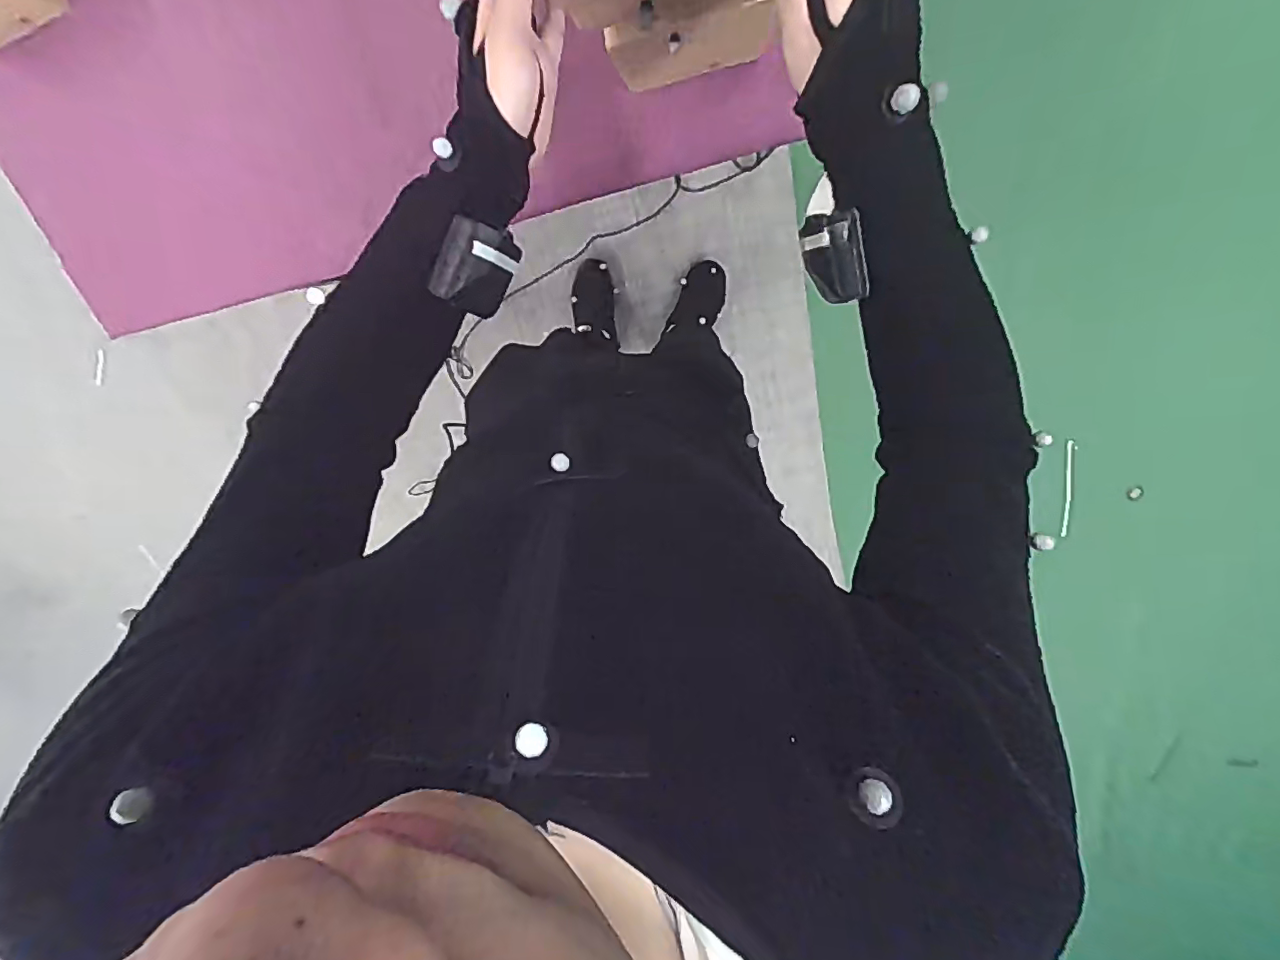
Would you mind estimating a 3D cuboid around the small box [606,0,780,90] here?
[{"bbox_3d":[0.043,-0.537,0.547,0.168,0.176,0.179,-7,111,11],"label":"small box"}]

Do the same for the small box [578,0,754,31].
[{"bbox_3d":[0.014,-0.462,0.380,0.168,0.176,0.179,-4,115,6],"label":"small box"}]
